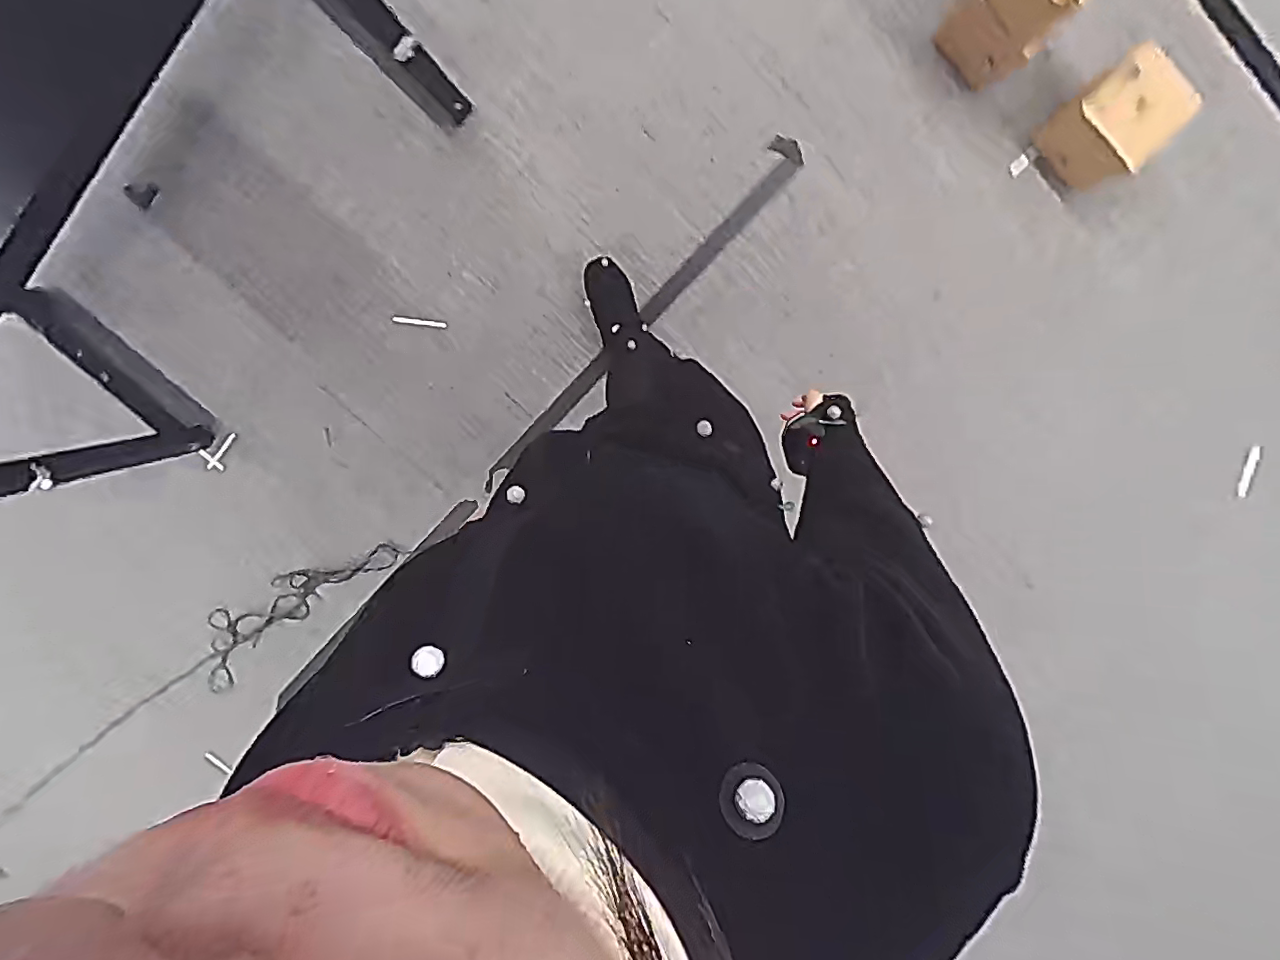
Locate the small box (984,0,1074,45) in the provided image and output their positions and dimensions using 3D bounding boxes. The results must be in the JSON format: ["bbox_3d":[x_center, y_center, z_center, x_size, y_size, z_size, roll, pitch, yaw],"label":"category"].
[{"bbox_3d":[0.737,-0.934,0.953,0.179,0.176,0.168,-44,99,11],"label":"small box"}]

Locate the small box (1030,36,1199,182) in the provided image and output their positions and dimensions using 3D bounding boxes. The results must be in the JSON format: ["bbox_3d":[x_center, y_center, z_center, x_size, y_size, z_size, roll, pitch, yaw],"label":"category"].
[{"bbox_3d":[0.998,-0.771,1.153,0.179,0.176,0.168,42,102,-9],"label":"small box"}]

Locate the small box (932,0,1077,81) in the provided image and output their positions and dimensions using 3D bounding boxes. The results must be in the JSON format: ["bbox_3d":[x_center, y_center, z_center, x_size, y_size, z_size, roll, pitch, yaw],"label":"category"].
[{"bbox_3d":[0.752,-0.971,1.112,0.179,0.176,0.168,42,102,-8],"label":"small box"}]
